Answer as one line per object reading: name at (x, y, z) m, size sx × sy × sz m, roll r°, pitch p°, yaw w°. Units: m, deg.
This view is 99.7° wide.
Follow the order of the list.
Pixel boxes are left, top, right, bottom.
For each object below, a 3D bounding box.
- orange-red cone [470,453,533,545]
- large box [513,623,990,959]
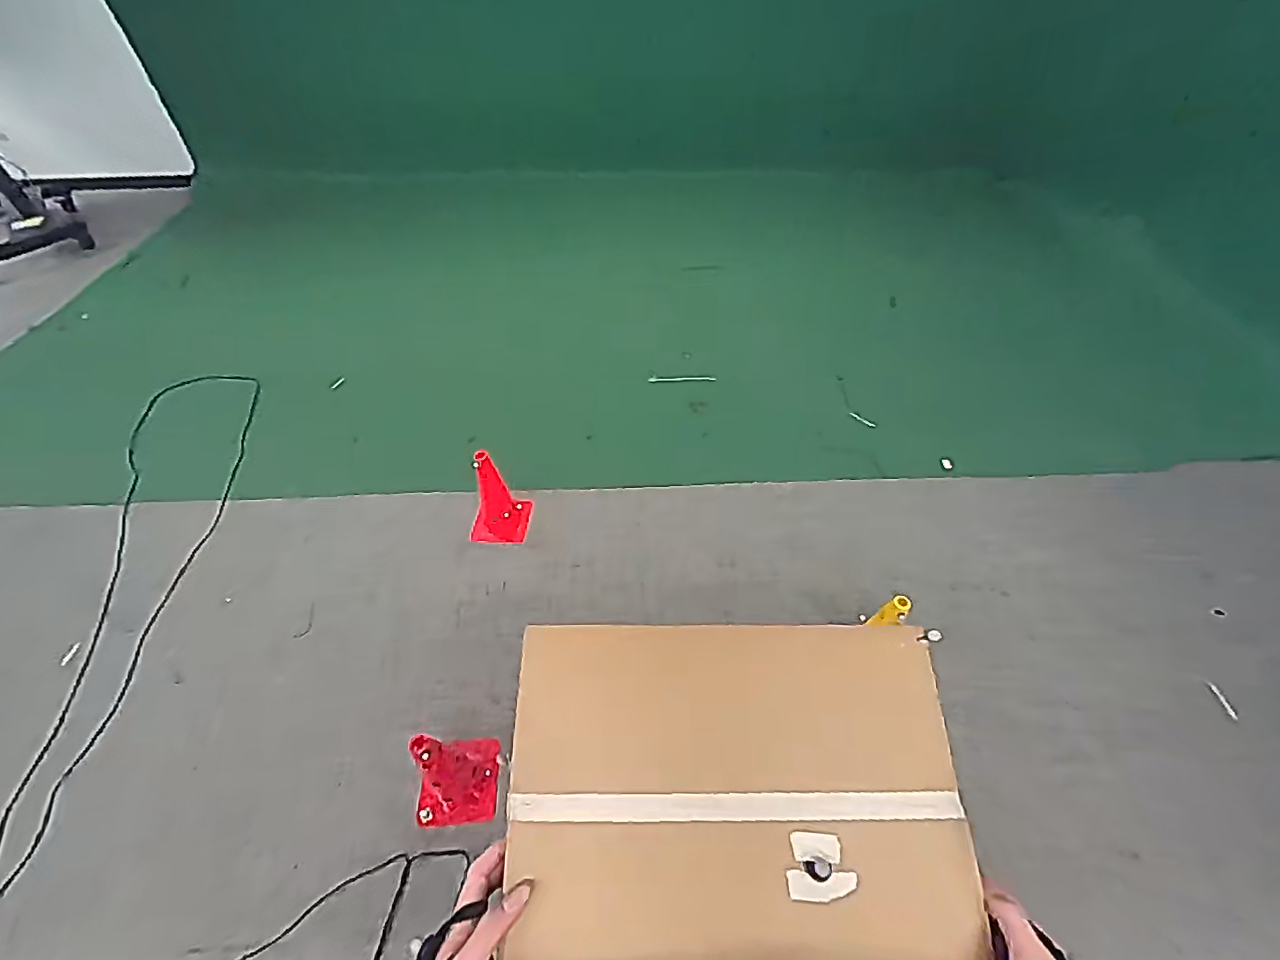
orange-red cone at (-0.514, 0.043, 1.867) m, size 0.199 × 0.360 × 0.198 m, roll 3°, pitch 48°, yaw 5°
large box at (0.087, 0.354, 0.630) m, size 0.408 × 0.320 × 0.320 m, roll 0°, pitch 67°, yaw -1°
